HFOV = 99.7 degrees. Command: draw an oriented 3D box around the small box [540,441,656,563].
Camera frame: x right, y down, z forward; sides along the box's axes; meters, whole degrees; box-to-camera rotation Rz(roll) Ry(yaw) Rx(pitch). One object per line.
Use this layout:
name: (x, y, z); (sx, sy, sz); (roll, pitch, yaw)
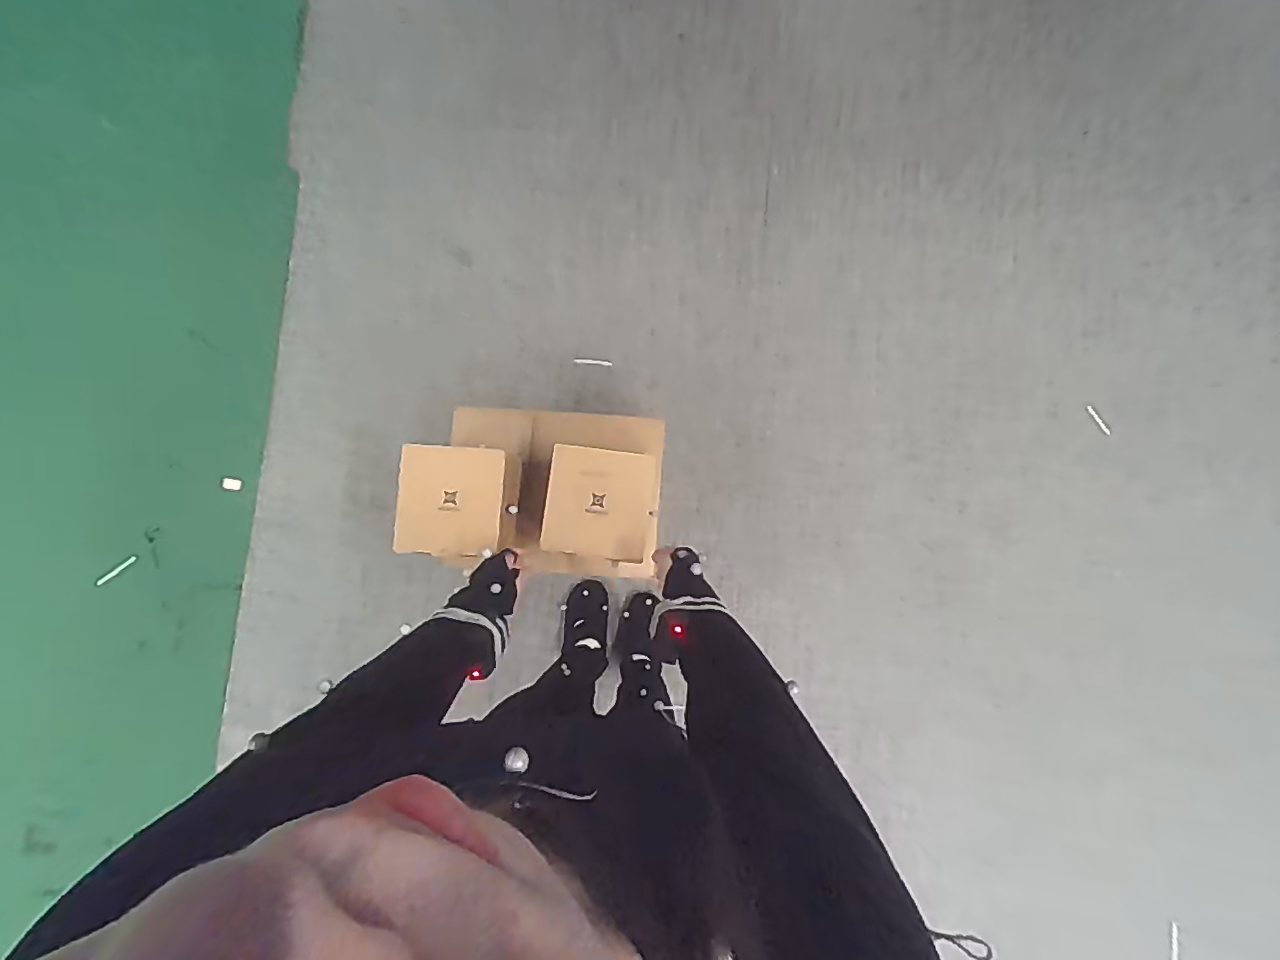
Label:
small box: (-0.064, 0.041, 0.934); (0.168, 0.176, 0.179); (8, 85, 2)

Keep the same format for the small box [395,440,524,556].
small box: (-0.301, 0.032, 0.936); (0.168, 0.176, 0.179); (4, 88, -1)
